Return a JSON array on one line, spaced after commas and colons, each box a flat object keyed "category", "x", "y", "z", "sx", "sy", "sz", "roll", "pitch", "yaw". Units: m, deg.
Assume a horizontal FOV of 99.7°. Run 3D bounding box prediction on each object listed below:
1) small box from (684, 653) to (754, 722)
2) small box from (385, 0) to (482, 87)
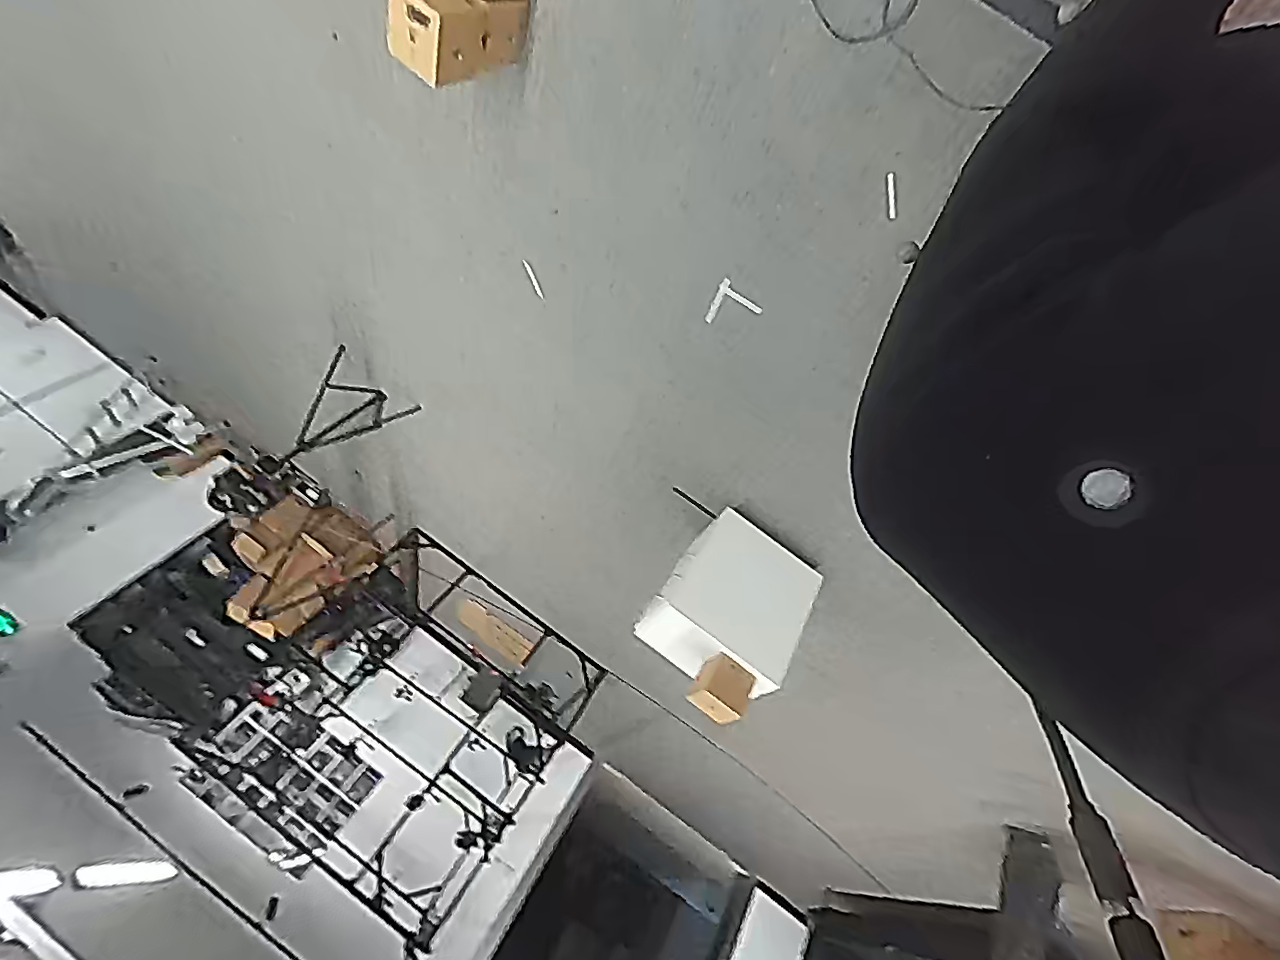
[{"category": "small box", "x": 0.300, "y": 0.777, "z": 2.025, "sx": 0.168, "sy": 0.176, "sz": 0.179, "roll": 37, "pitch": 143, "yaw": 1}, {"category": "small box", "x": -0.538, "y": -1.184, "z": 1.414, "sx": 0.168, "sy": 0.176, "sz": 0.179, "roll": 40, "pitch": 144, "yaw": 0}]
